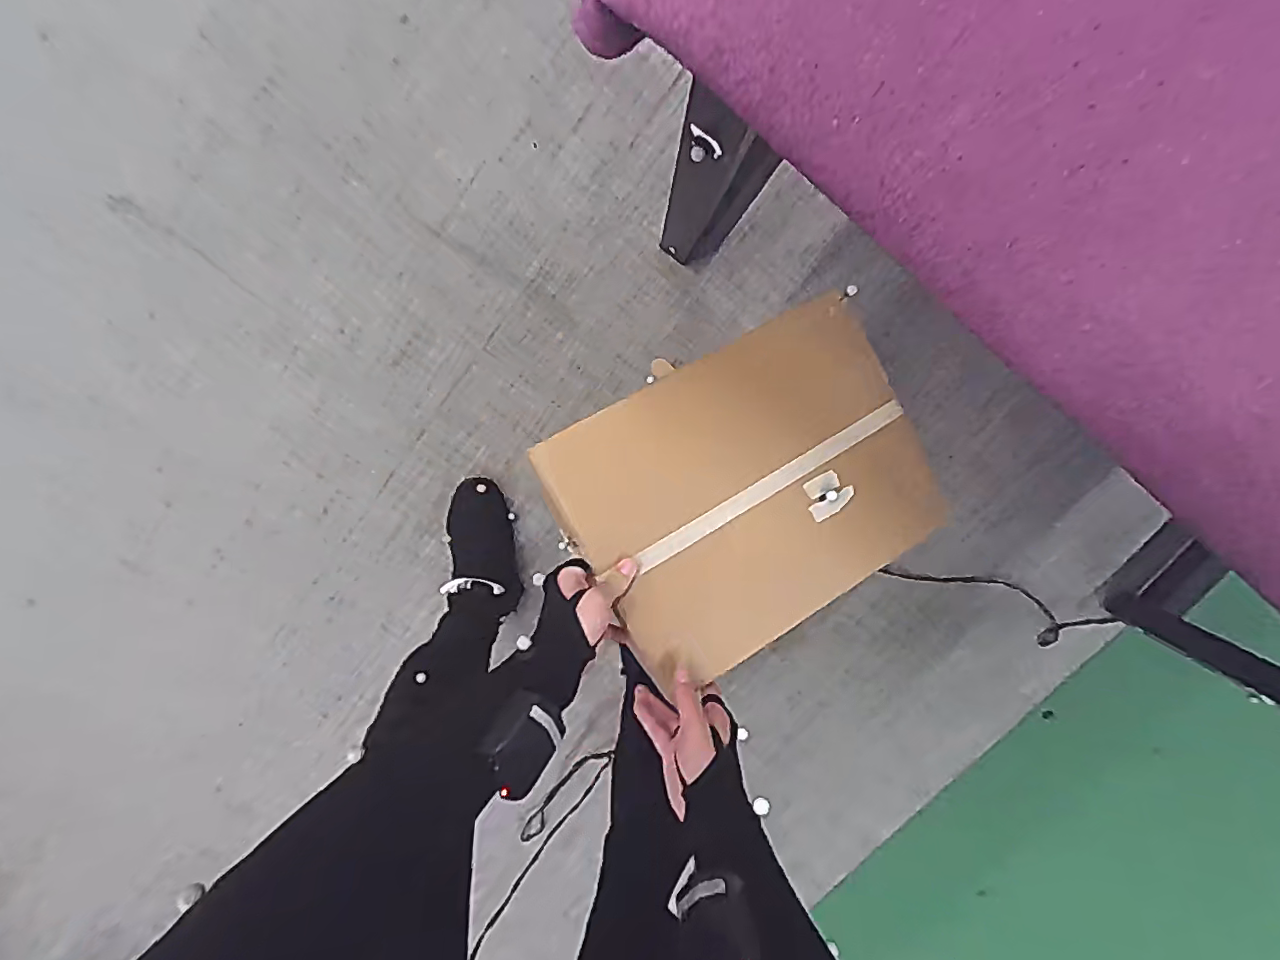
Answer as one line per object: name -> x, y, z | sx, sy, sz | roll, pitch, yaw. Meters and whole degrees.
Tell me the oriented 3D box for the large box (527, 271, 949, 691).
large box -> 0.097, -0.005, 0.733 | 0.408, 0.320, 0.320 | -31, 98, -11
